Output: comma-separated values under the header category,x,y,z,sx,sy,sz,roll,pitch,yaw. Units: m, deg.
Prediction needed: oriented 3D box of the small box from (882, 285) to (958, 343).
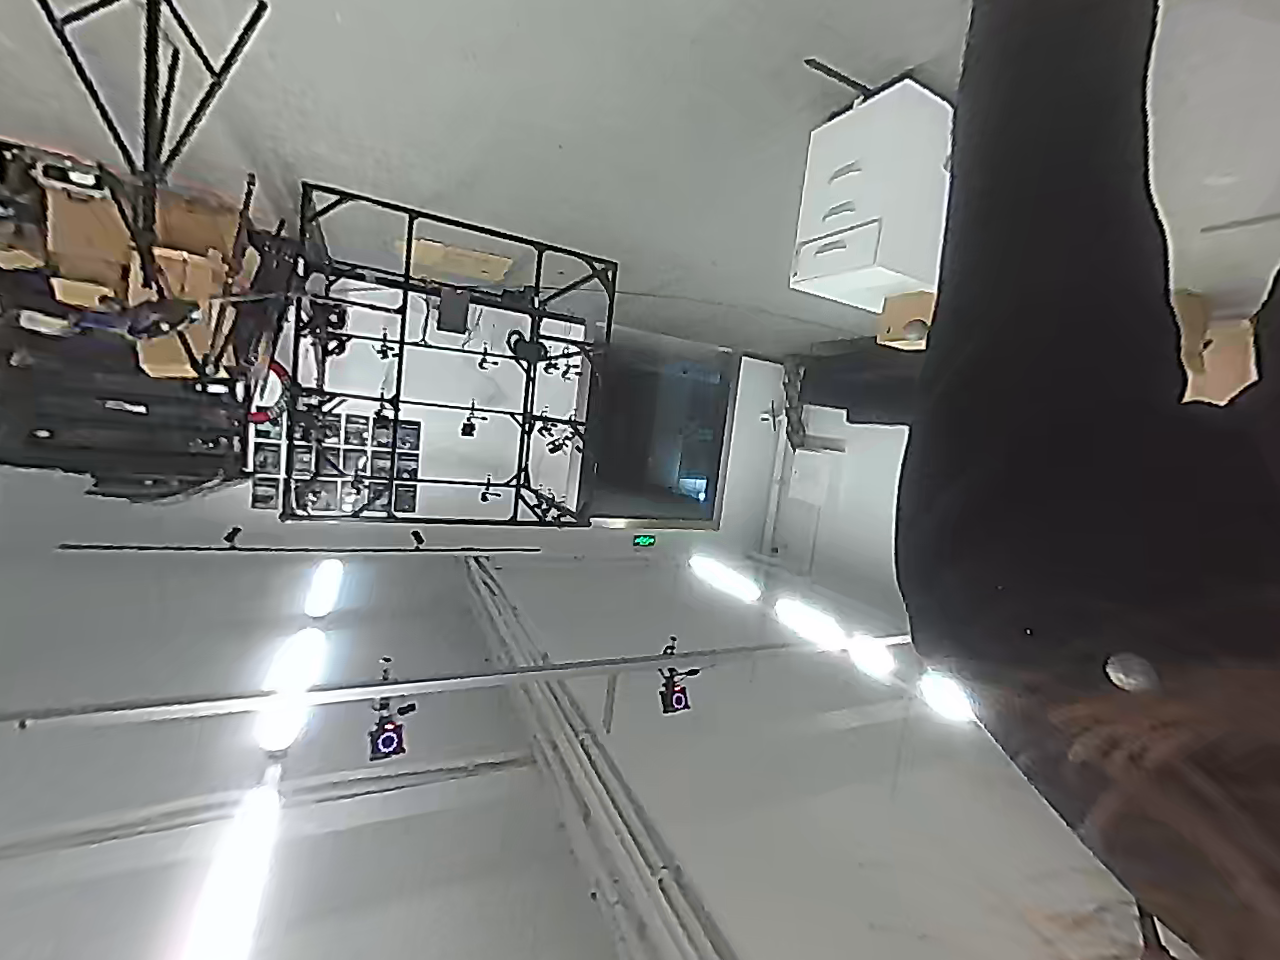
category,x,y,z,sx,sy,sz,roll,pitch,yaw
small box,1.033,-0.608,1.993,0.168,0.176,0.179,3,-172,-26
